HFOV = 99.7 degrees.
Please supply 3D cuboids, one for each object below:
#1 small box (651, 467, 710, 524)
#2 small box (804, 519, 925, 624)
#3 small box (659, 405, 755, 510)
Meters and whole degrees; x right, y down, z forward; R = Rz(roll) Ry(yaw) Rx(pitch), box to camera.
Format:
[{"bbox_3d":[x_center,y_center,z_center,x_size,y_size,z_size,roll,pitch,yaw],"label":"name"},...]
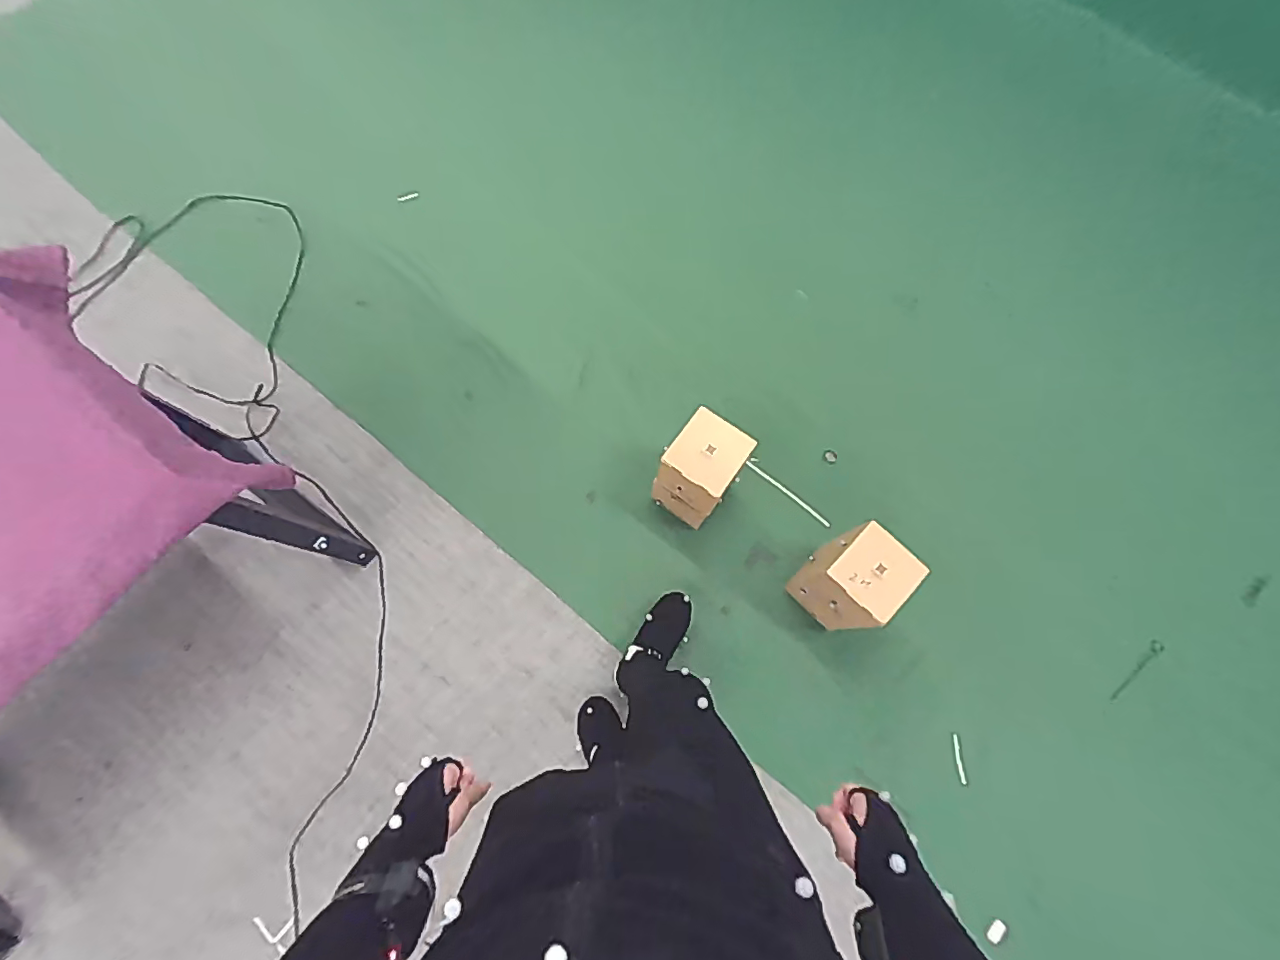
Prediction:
[{"bbox_3d":[0.145,0.000,1.508,0.168,0.176,0.179,36,75,9],"label":"small box"},{"bbox_3d":[0.521,0.223,1.284,0.179,0.176,0.168,-43,79,-13],"label":"small box"},{"bbox_3d":[0.158,-0.050,1.354,0.168,0.176,0.179,35,76,8],"label":"small box"}]
